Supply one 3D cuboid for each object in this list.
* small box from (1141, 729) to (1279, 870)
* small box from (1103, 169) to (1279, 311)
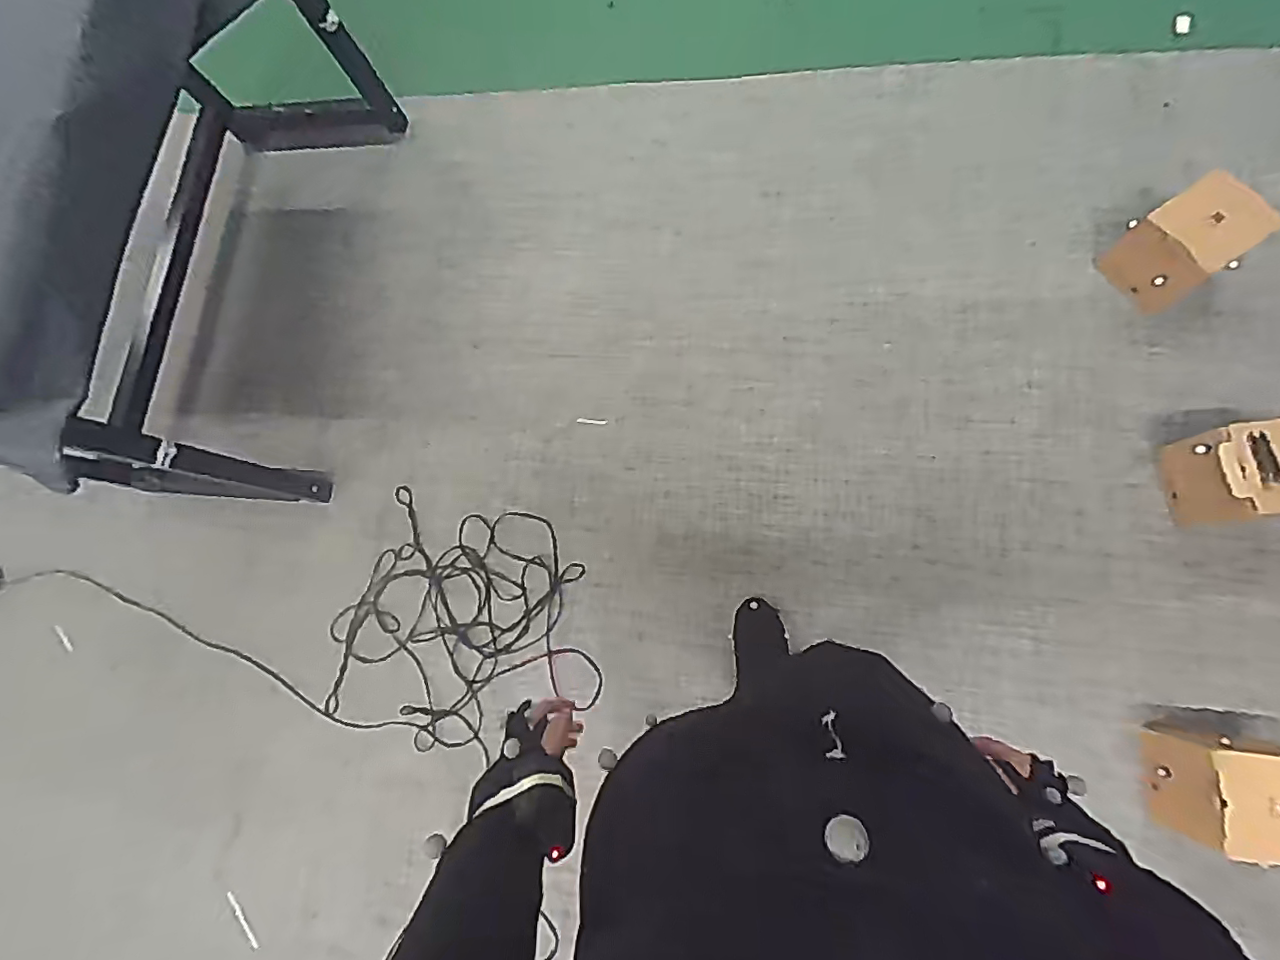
[{"bbox_3d":[1.025,0.541,0.929,0.179,0.176,0.168,2,79,10],"label":"small box"},{"bbox_3d":[1.128,-0.488,1.127,0.179,0.176,0.168,-35,77,0],"label":"small box"}]
